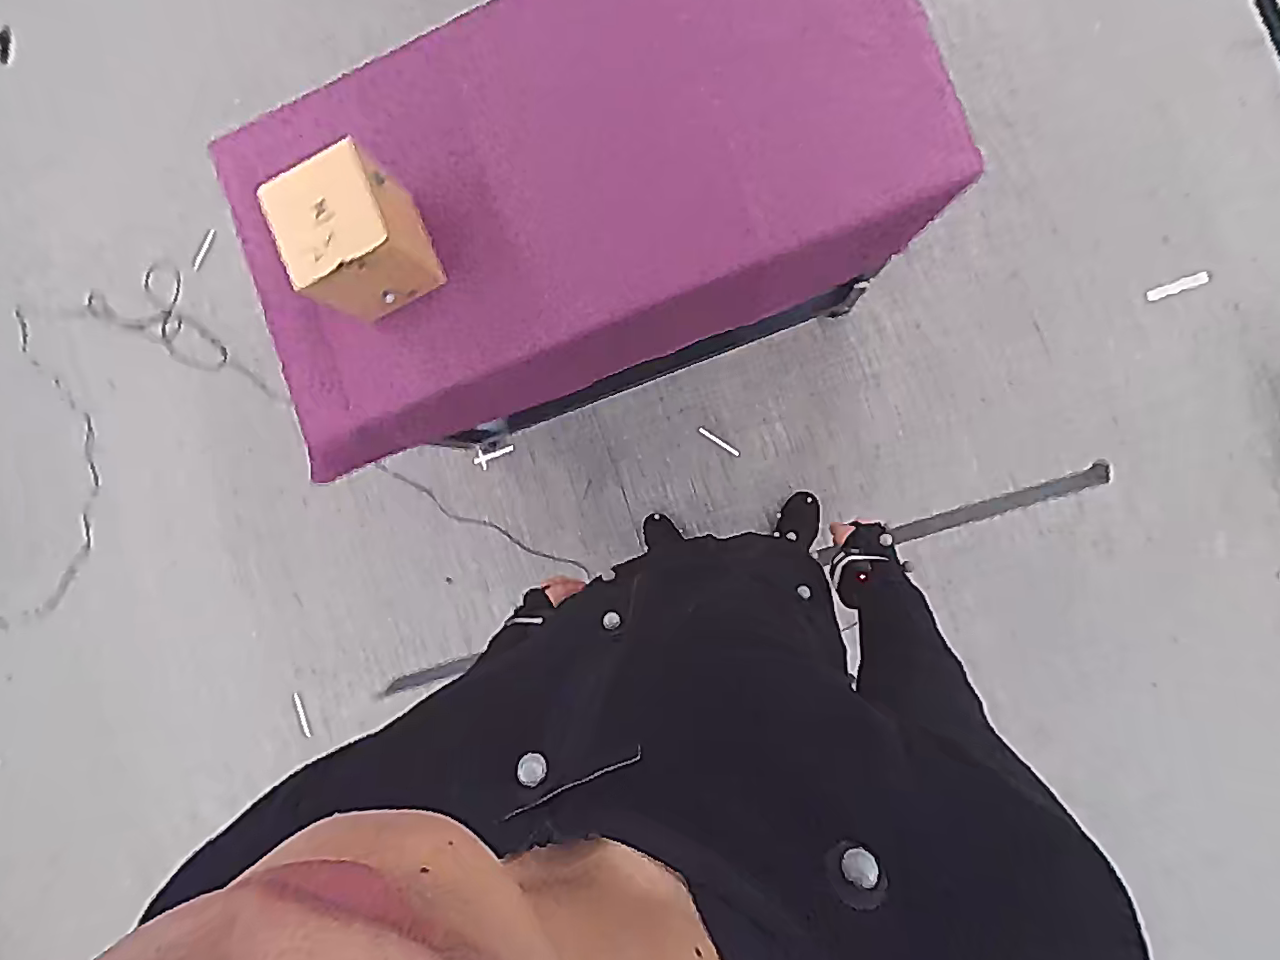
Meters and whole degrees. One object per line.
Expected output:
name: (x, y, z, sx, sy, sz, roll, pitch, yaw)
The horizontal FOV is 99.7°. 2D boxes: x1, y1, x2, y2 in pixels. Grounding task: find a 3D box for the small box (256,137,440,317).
small box: (-0.461, -0.394, 0.876, 0.168, 0.176, 0.179, -24, 87, 8)
